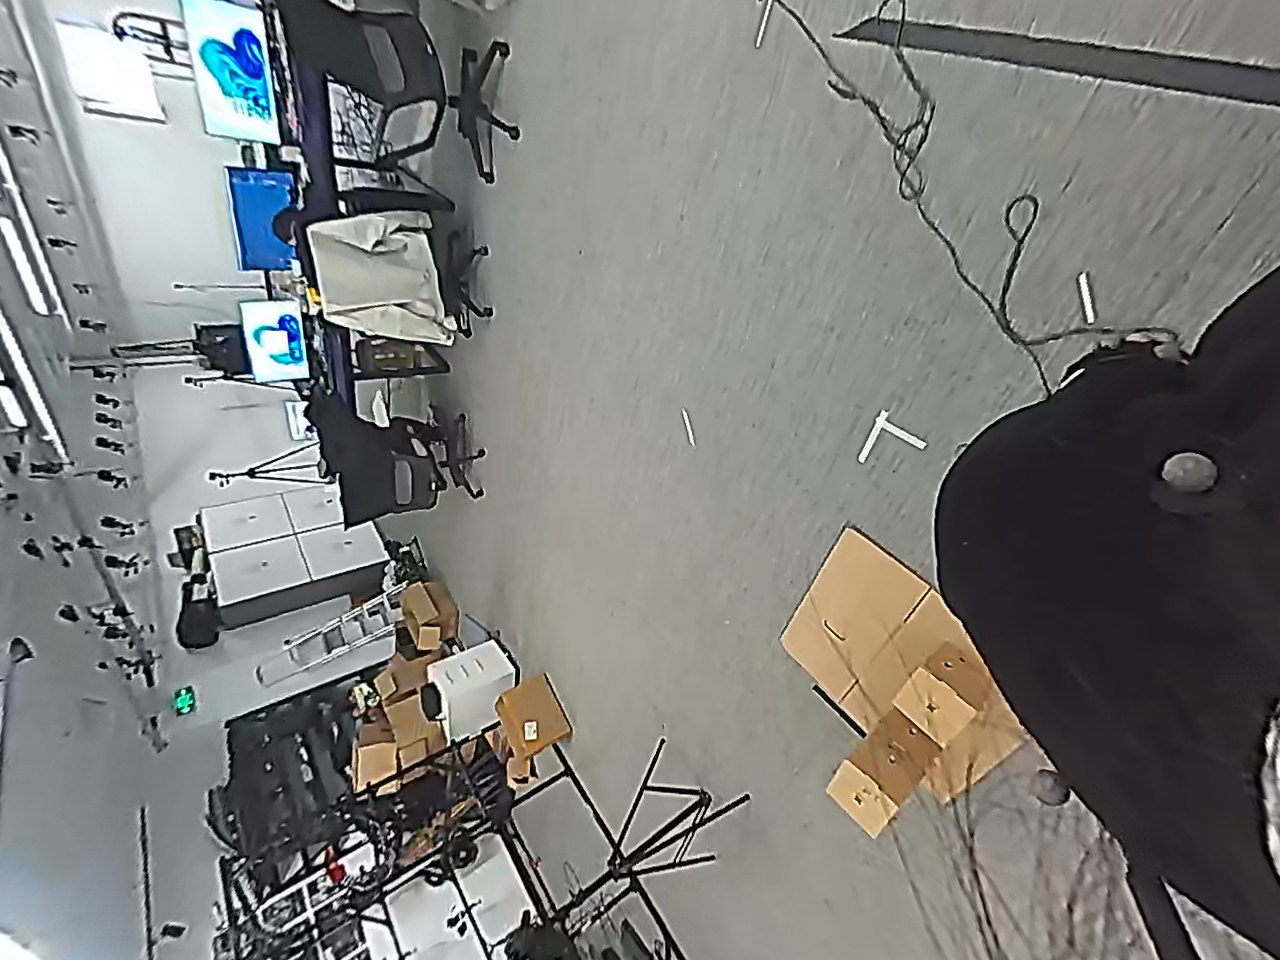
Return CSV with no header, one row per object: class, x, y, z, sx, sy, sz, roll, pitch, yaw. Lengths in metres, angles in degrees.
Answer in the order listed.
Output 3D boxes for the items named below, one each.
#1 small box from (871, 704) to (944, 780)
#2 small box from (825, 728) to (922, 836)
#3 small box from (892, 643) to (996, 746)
small box,0.797,0.821,1.651,0.168,0.176,0.179,38,129,39
small box,0.672,0.860,1.551,0.168,0.176,0.179,38,130,37
small box,0.848,0.587,1.501,0.168,0.176,0.179,42,133,36
